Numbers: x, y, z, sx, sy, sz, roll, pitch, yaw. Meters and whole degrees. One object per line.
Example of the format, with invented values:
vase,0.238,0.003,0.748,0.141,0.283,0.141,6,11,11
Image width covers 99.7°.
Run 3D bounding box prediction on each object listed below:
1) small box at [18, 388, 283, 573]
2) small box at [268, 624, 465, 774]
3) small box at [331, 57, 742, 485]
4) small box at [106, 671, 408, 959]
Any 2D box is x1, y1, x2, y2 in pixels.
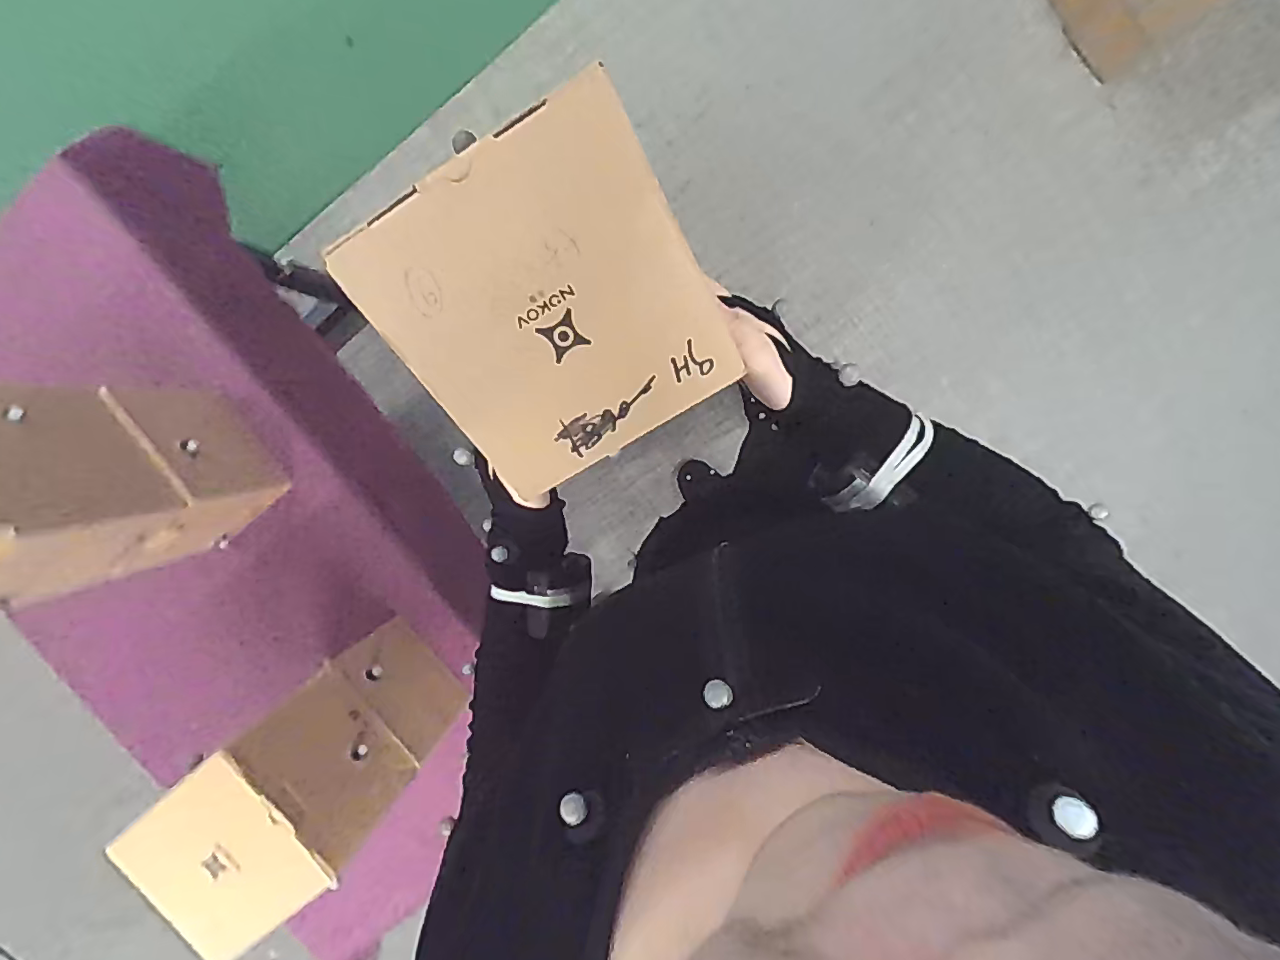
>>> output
small box,-0.645,-0.008,0.737,0.168,0.176,0.179,-37,92,8
small box,-0.385,0.326,0.758,0.168,0.176,0.179,-40,93,9
small box,-0.057,-0.134,0.368,0.168,0.176,0.179,-27,120,7
small box,-0.401,0.352,0.598,0.179,0.176,0.168,-40,92,7
